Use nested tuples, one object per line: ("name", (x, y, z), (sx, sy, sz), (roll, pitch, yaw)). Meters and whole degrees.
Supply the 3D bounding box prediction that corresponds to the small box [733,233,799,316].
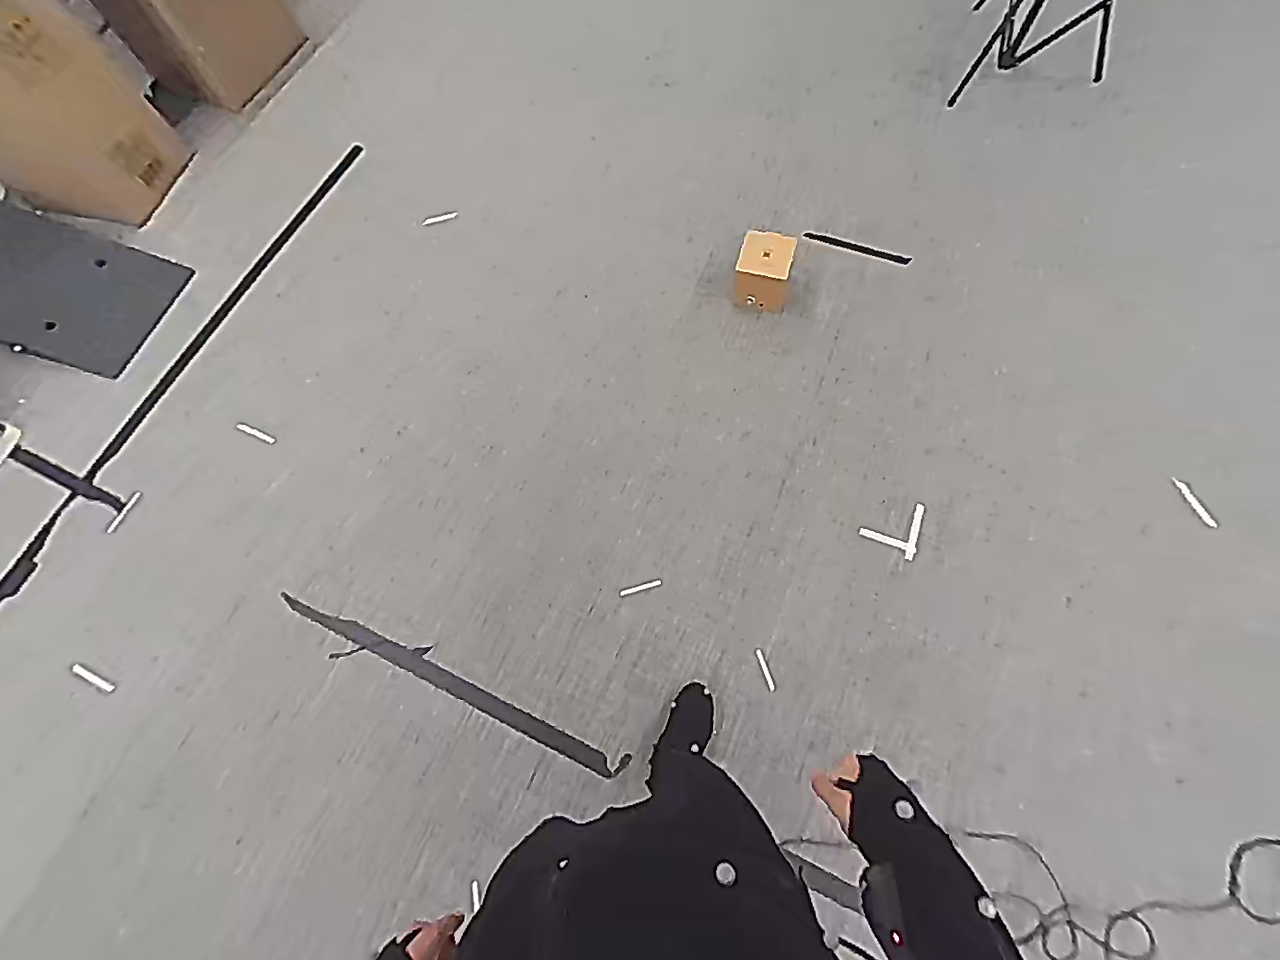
("small box", (0.409, -0.676, 1.788), (0.168, 0.176, 0.179), (16, 72, 10))
